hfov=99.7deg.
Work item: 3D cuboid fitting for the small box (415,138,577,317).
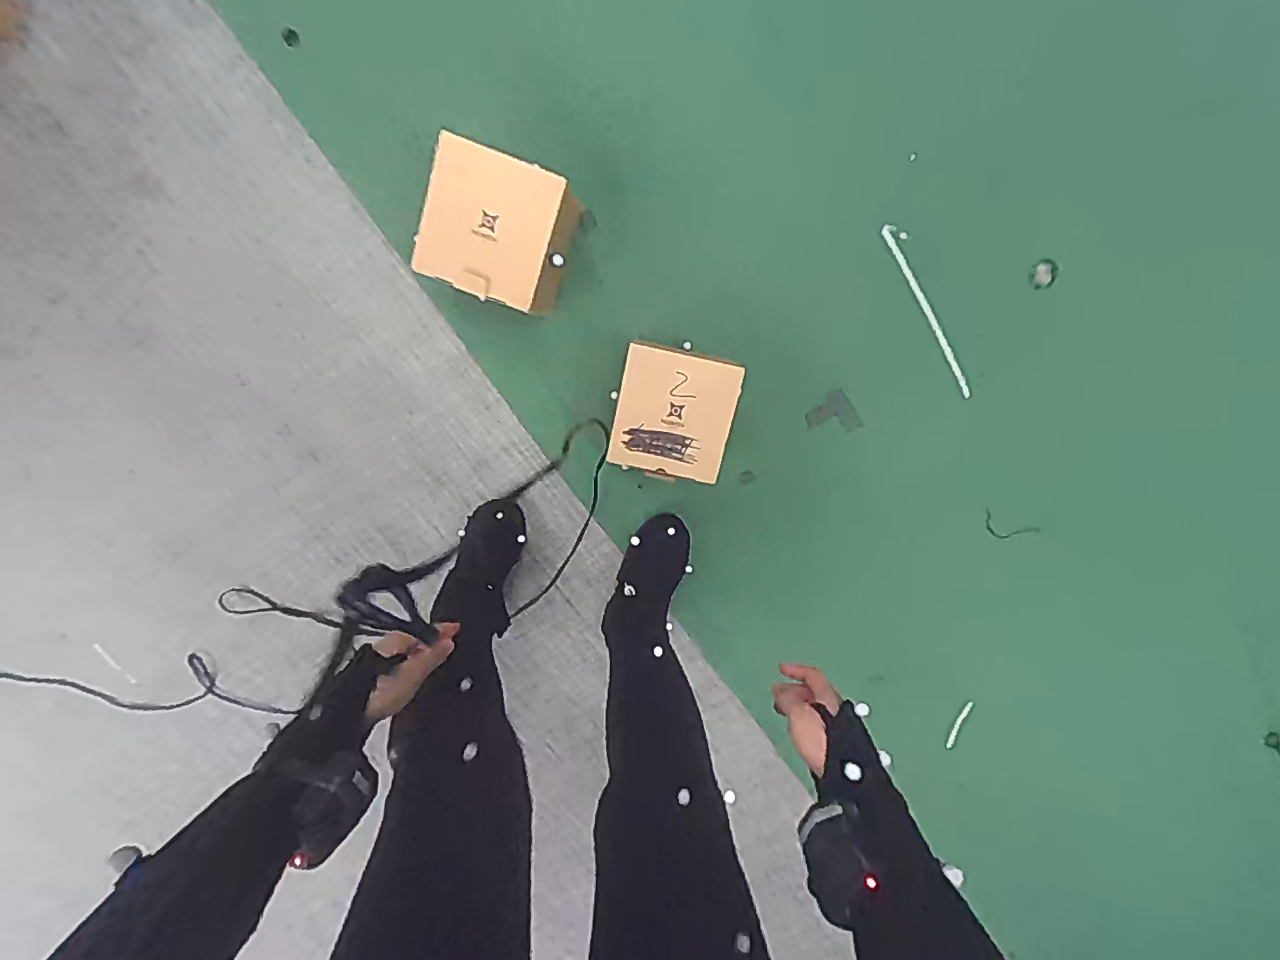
[{"bbox_3d":[-0.196,-0.348,0.781,0.168,0.176,0.179,19,107,-5],"label":"small box"}]
